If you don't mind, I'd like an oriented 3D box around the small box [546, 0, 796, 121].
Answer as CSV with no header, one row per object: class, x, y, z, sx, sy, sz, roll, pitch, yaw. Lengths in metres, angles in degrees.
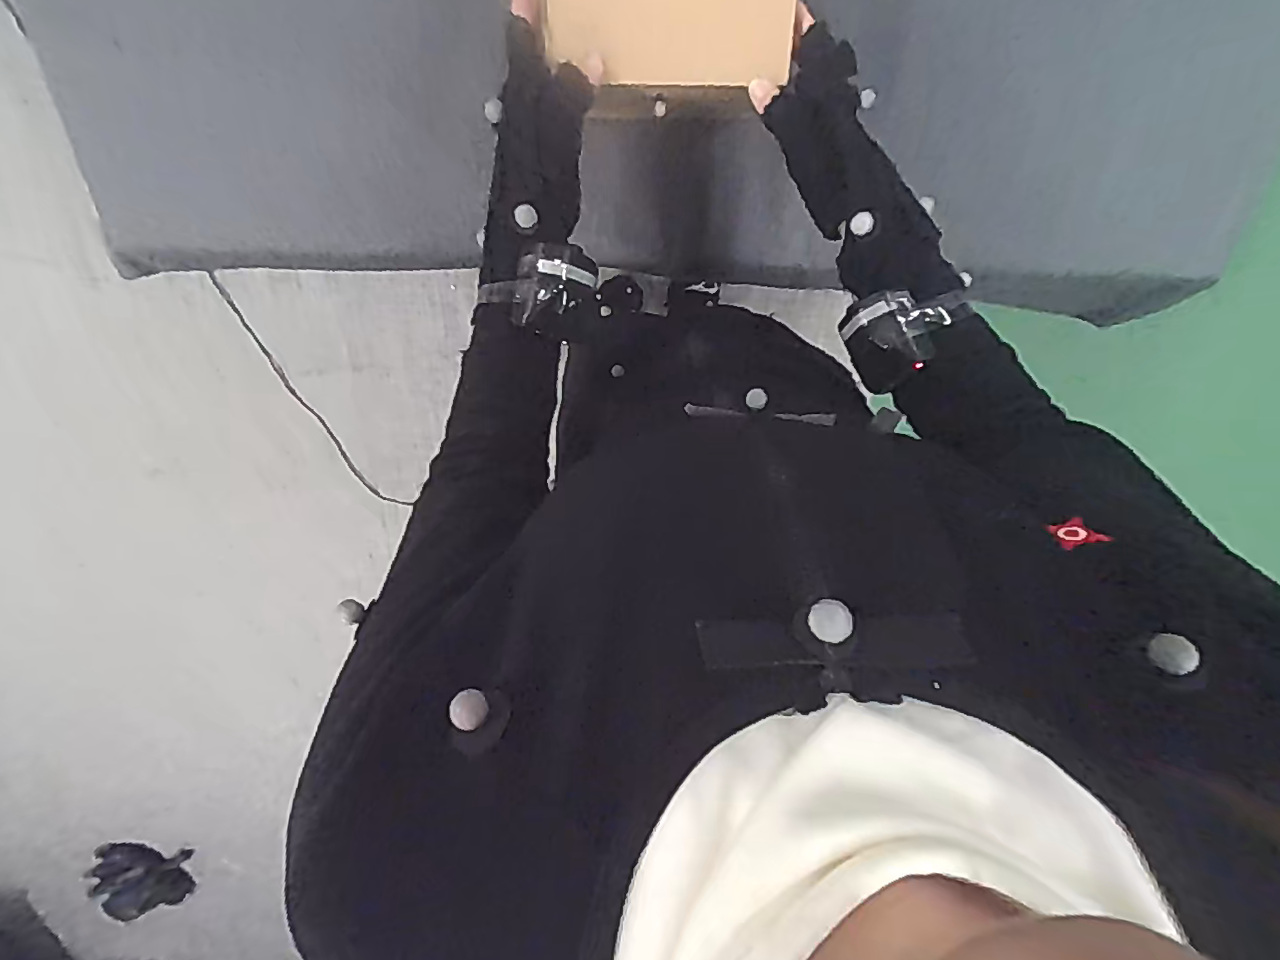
small box,0.022,-0.394,0.430,0.179,0.176,0.168,-1,118,-1
